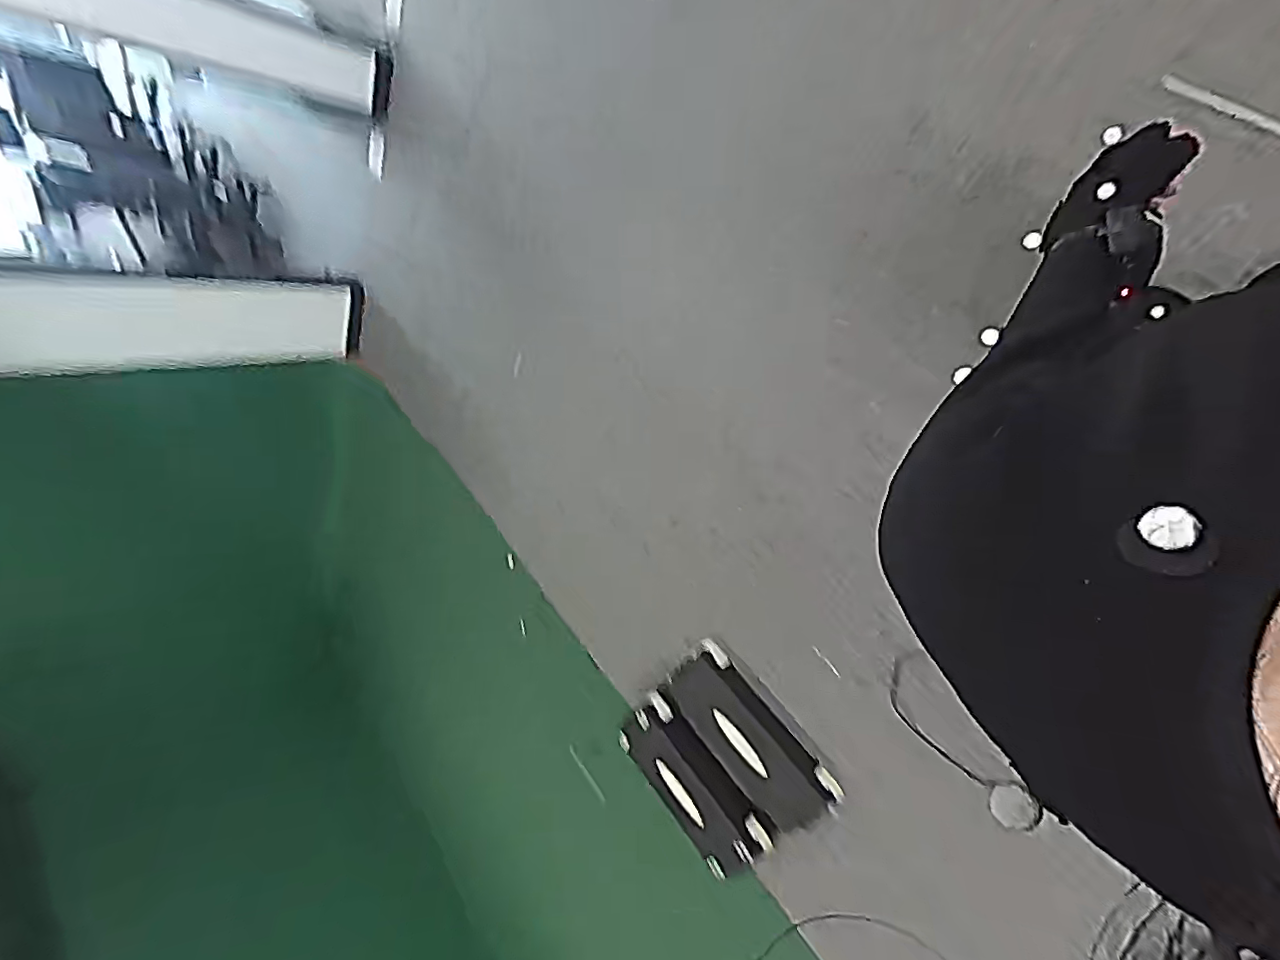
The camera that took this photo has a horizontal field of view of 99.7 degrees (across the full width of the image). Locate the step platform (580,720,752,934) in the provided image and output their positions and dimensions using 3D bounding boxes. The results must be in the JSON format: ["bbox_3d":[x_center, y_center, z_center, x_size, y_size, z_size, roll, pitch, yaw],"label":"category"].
[{"bbox_3d":[0.084,1.241,1.981,0.684,0.204,0.286,46,128,21],"label":"step platform"}]
